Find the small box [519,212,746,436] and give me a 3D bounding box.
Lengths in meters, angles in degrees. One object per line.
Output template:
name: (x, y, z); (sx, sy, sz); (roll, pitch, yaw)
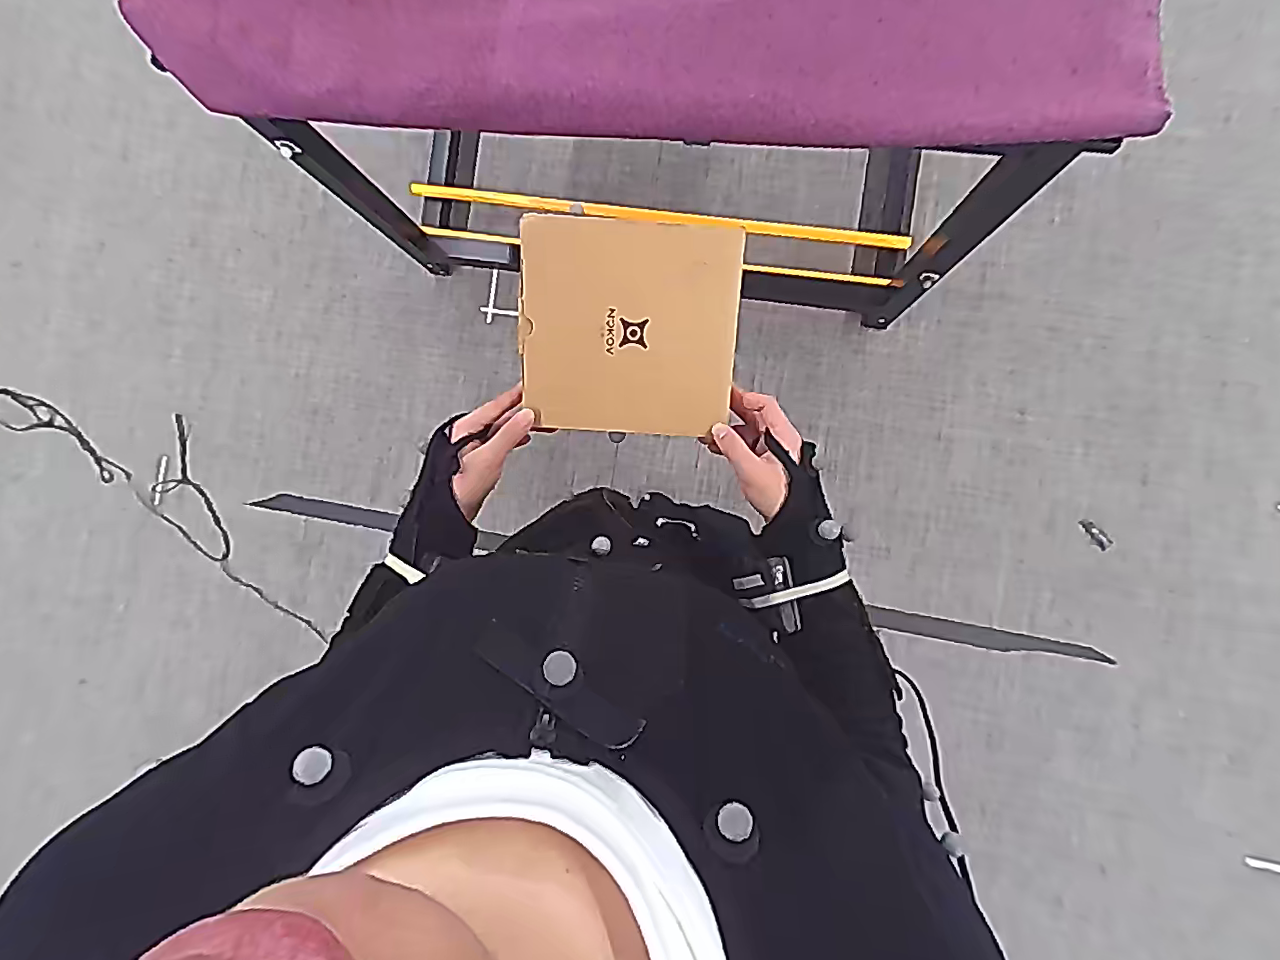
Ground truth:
small box: (-0.007, -0.142, 0.506); (0.179, 0.176, 0.168); (4, 106, 2)
